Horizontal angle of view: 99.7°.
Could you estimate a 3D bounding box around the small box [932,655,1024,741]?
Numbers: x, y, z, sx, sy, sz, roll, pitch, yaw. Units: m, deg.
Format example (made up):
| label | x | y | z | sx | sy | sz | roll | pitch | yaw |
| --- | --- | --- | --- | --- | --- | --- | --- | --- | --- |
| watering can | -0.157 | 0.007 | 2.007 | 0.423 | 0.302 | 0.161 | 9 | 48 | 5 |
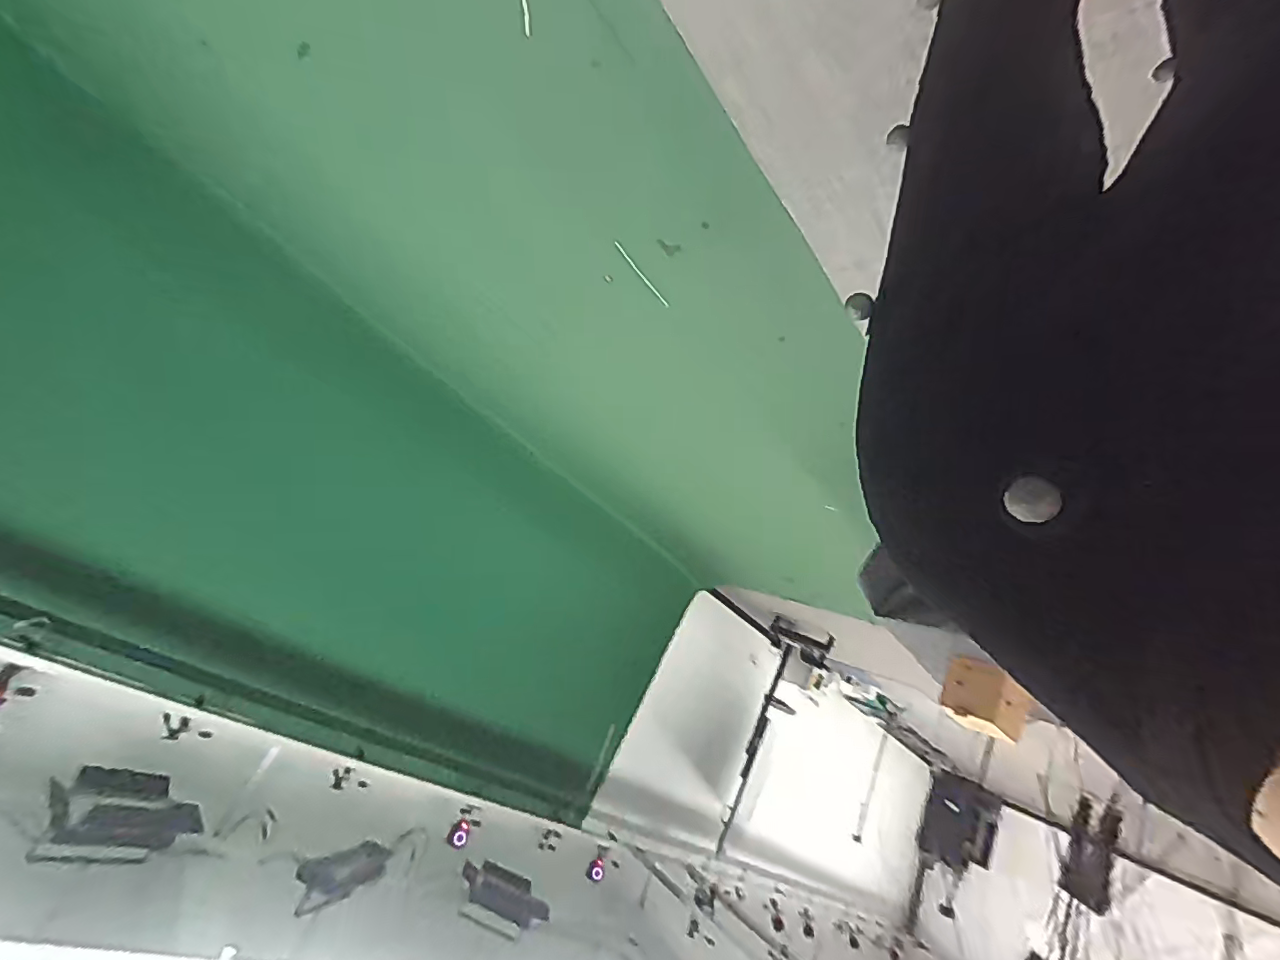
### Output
| label | x | y | z | sx | sy | sz | roll | pitch | yaw |
| --- | --- | --- | --- | --- | --- | --- | --- | --- | --- |
| small box | 1.025 | 0.653 | 1.638 | 0.179 | 0.176 | 0.168 | 37 | 161 | -26 |
